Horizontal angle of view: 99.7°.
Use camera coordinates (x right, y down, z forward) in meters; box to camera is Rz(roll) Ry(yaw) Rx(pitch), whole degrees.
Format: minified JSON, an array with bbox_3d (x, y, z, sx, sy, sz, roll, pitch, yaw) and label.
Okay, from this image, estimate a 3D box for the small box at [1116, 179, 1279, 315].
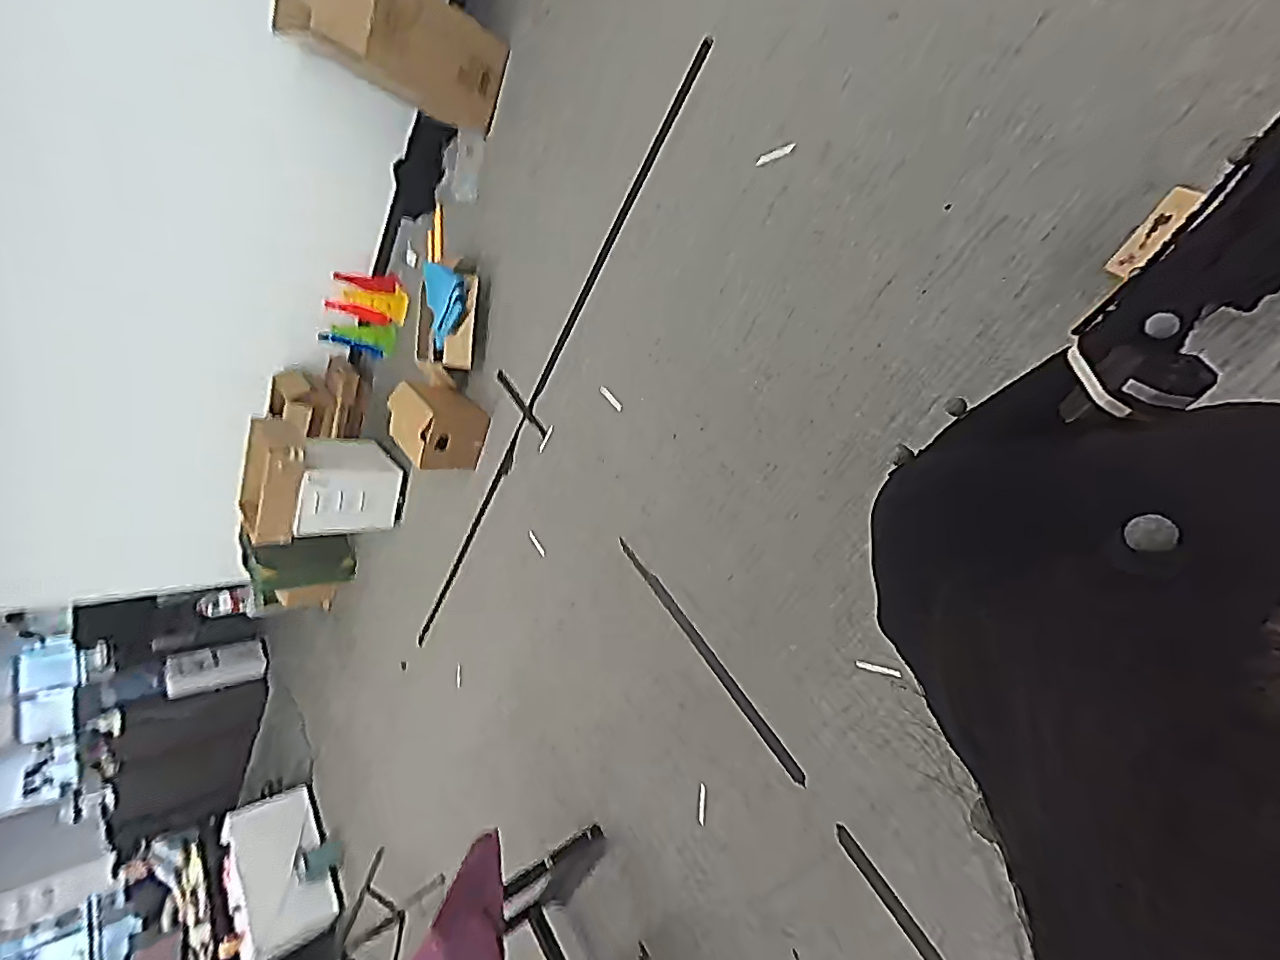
[{"bbox_3d":[1.063,-0.430,1.025,0.179,0.176,0.168,49,121,31],"label":"small box"}]
